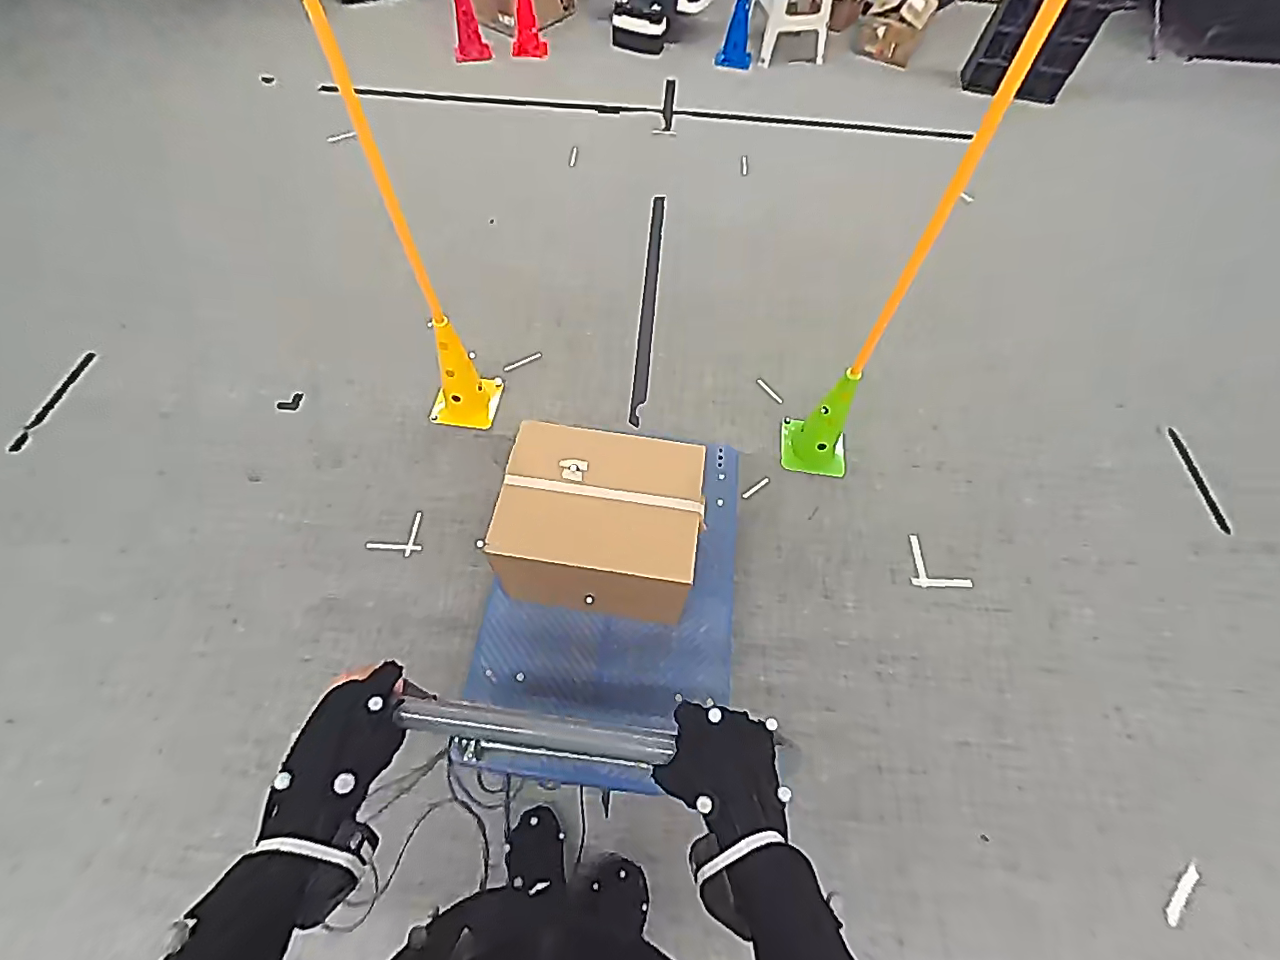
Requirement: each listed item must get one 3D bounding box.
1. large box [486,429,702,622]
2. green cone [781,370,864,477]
[{"bbox_3d":[-0.083,0.115,1.236,0.408,0.320,0.320,8,60,3],"label":"large box"},{"bbox_3d":[0.569,-0.190,1.609,0.202,0.368,0.200,9,60,1],"label":"green cone"}]
